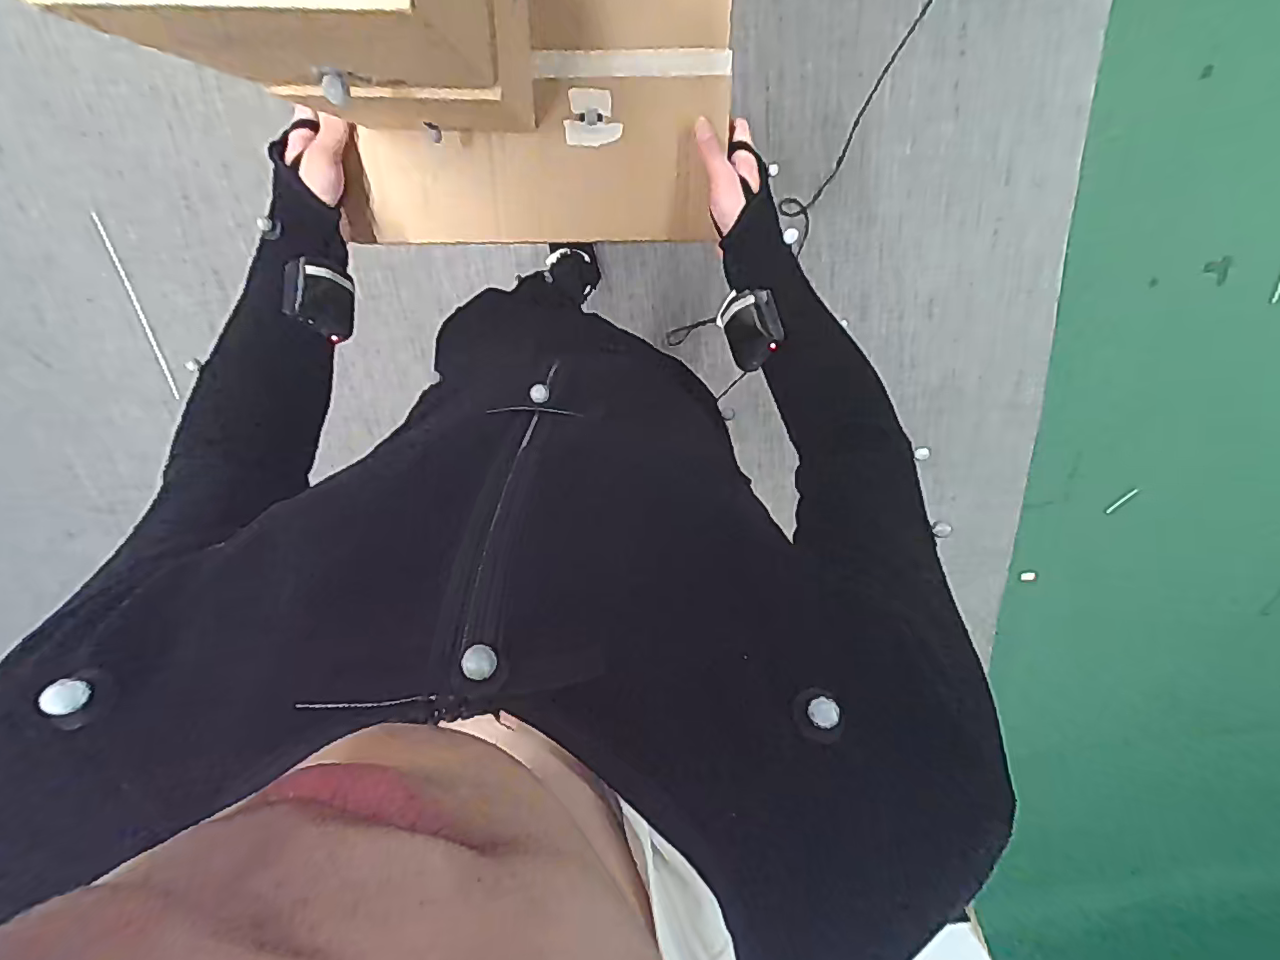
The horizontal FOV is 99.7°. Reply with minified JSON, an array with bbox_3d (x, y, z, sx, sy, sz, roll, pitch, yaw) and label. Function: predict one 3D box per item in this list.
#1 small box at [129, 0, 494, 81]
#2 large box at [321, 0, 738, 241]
[{"bbox_3d":[-0.176,-0.321,0.262,0.168,0.176,0.179,0,116,-2],"label":"small box"},{"bbox_3d":[-0.113,-0.468,0.648,0.408,0.320,0.320,-2,117,-2],"label":"large box"}]
